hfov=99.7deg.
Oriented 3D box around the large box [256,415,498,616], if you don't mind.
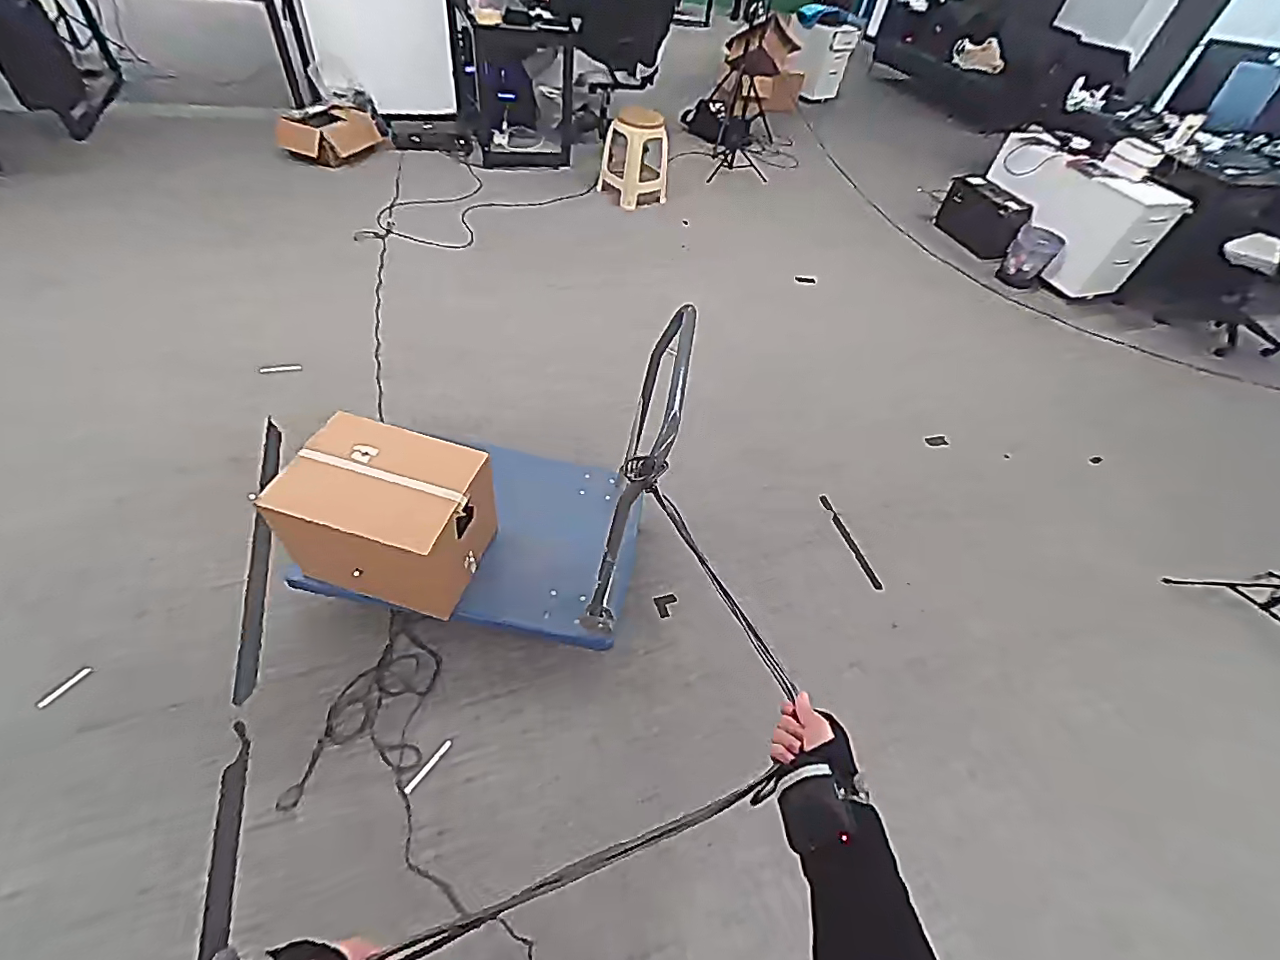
[{"bbox_3d":[-0.608,0.092,1.345,0.408,0.320,0.320,15,49,4],"label":"large box"}]
